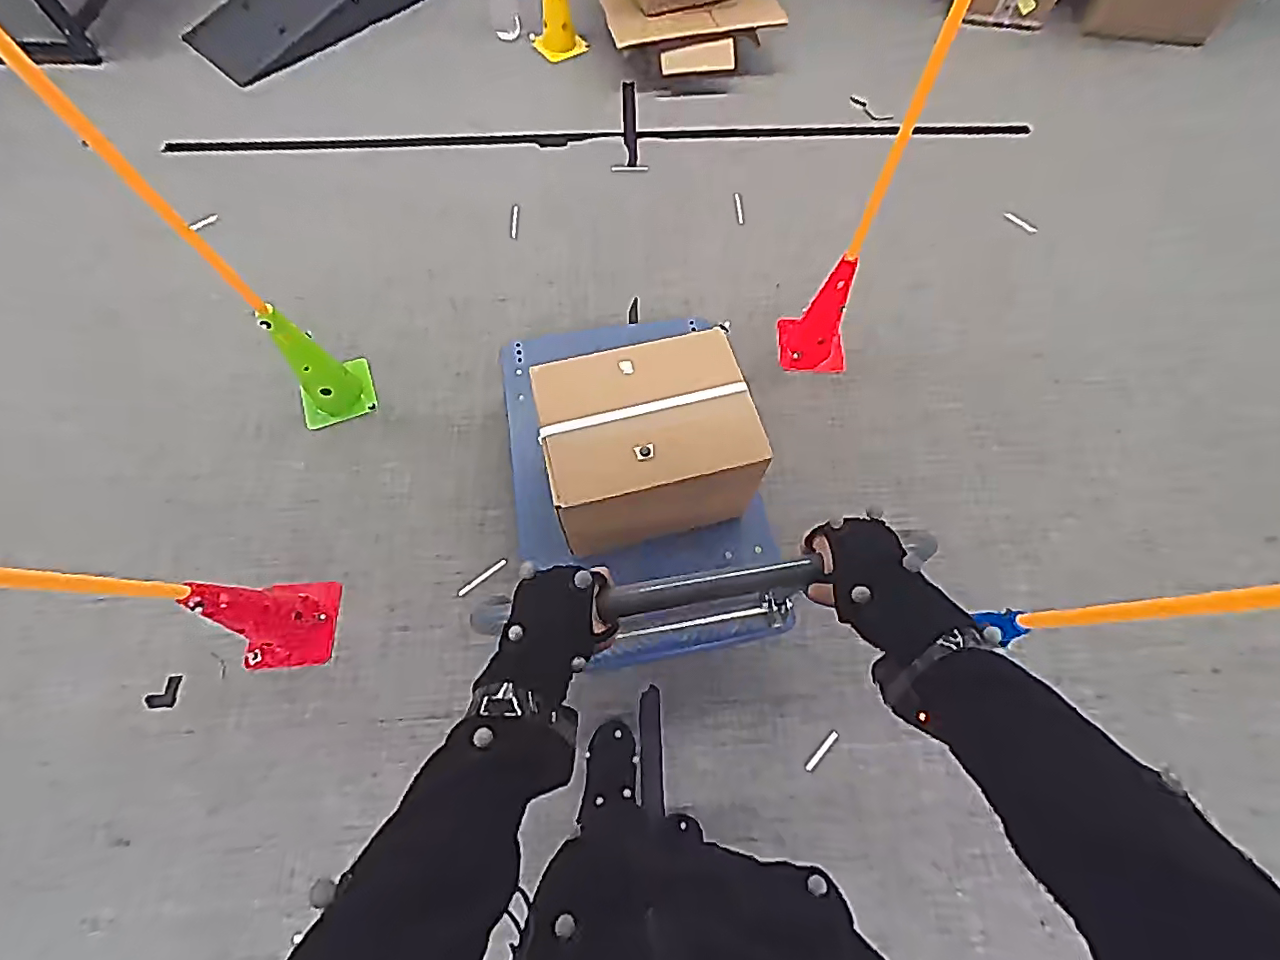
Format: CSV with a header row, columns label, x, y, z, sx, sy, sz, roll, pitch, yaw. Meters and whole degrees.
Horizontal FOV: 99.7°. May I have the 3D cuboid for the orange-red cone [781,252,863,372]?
label,x,y,z,sx,sy,sz,roll,pitch,yaw
orange-red cone,0.544,-0.493,1.525,0.199,0.360,0.198,5,66,0
